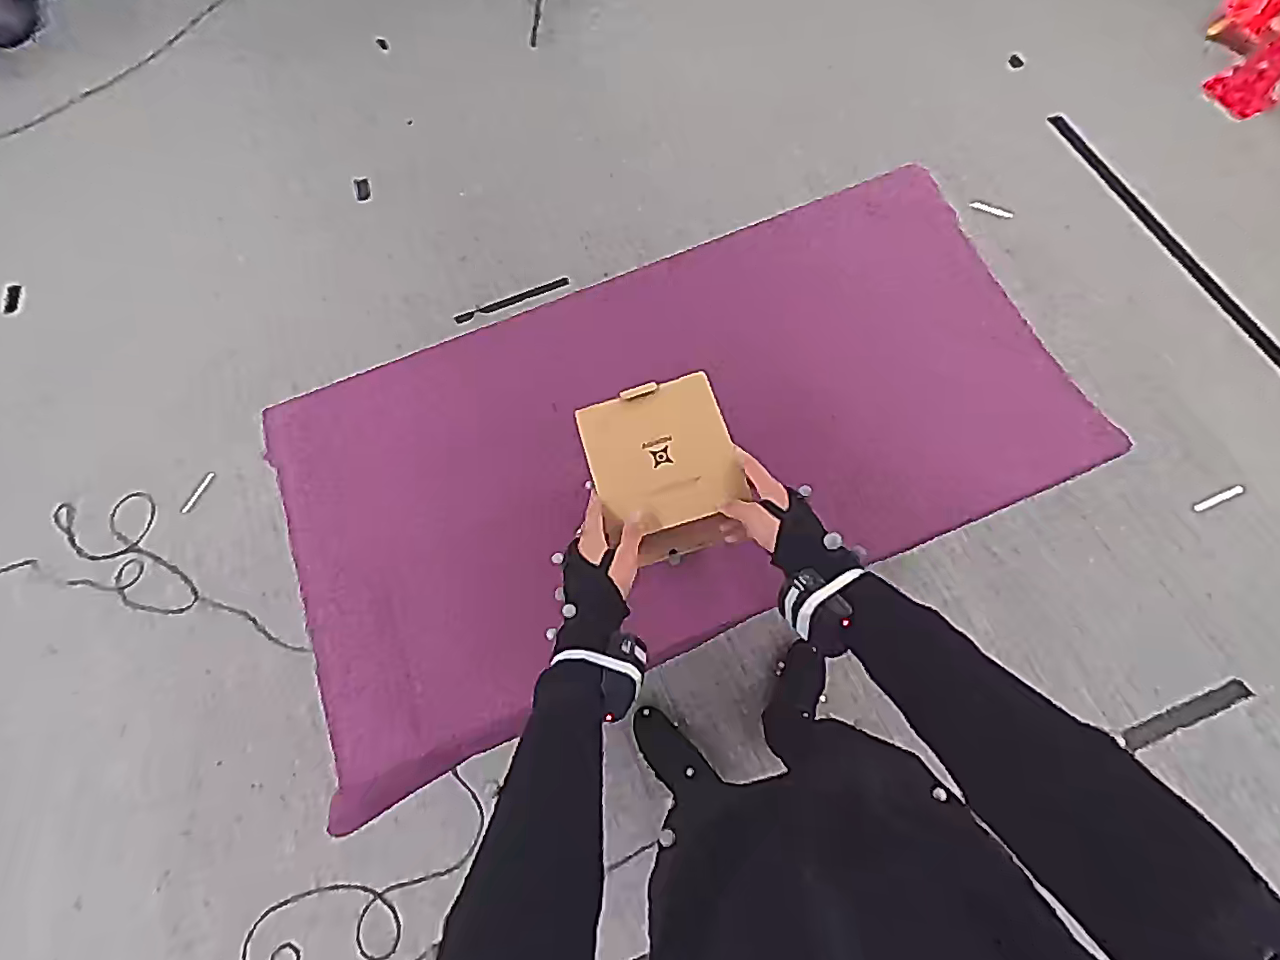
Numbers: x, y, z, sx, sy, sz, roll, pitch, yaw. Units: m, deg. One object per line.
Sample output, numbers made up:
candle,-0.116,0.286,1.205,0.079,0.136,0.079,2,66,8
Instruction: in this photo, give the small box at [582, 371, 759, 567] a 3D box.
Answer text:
small box,0.036,-0.005,0.685,0.168,0.176,0.179,-17,70,0
